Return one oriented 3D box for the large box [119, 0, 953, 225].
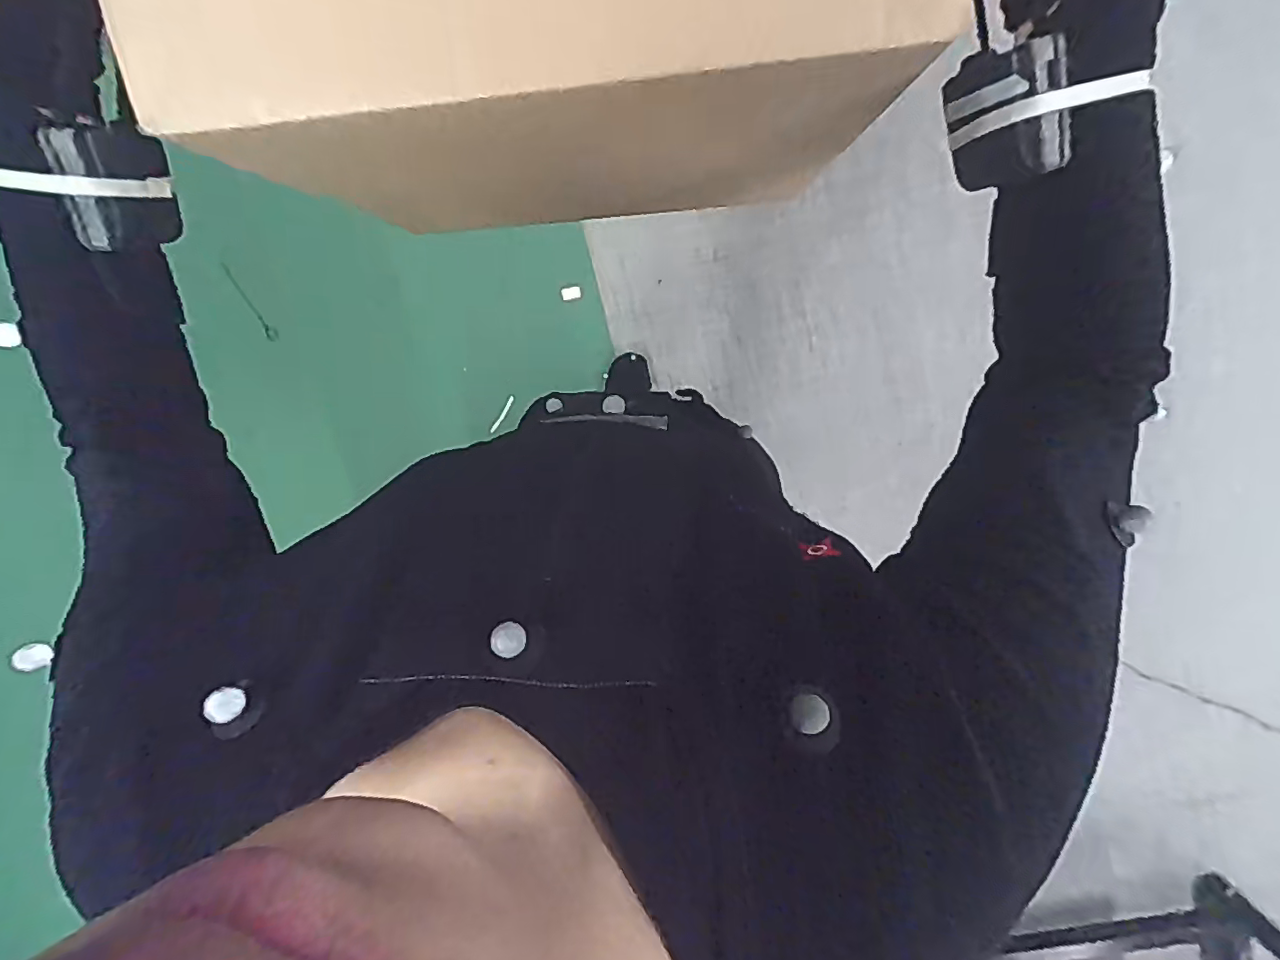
[{"bbox_3d":[-0.060,-0.386,0.368,0.408,0.320,0.320,-4,107,2],"label":"large box"}]
